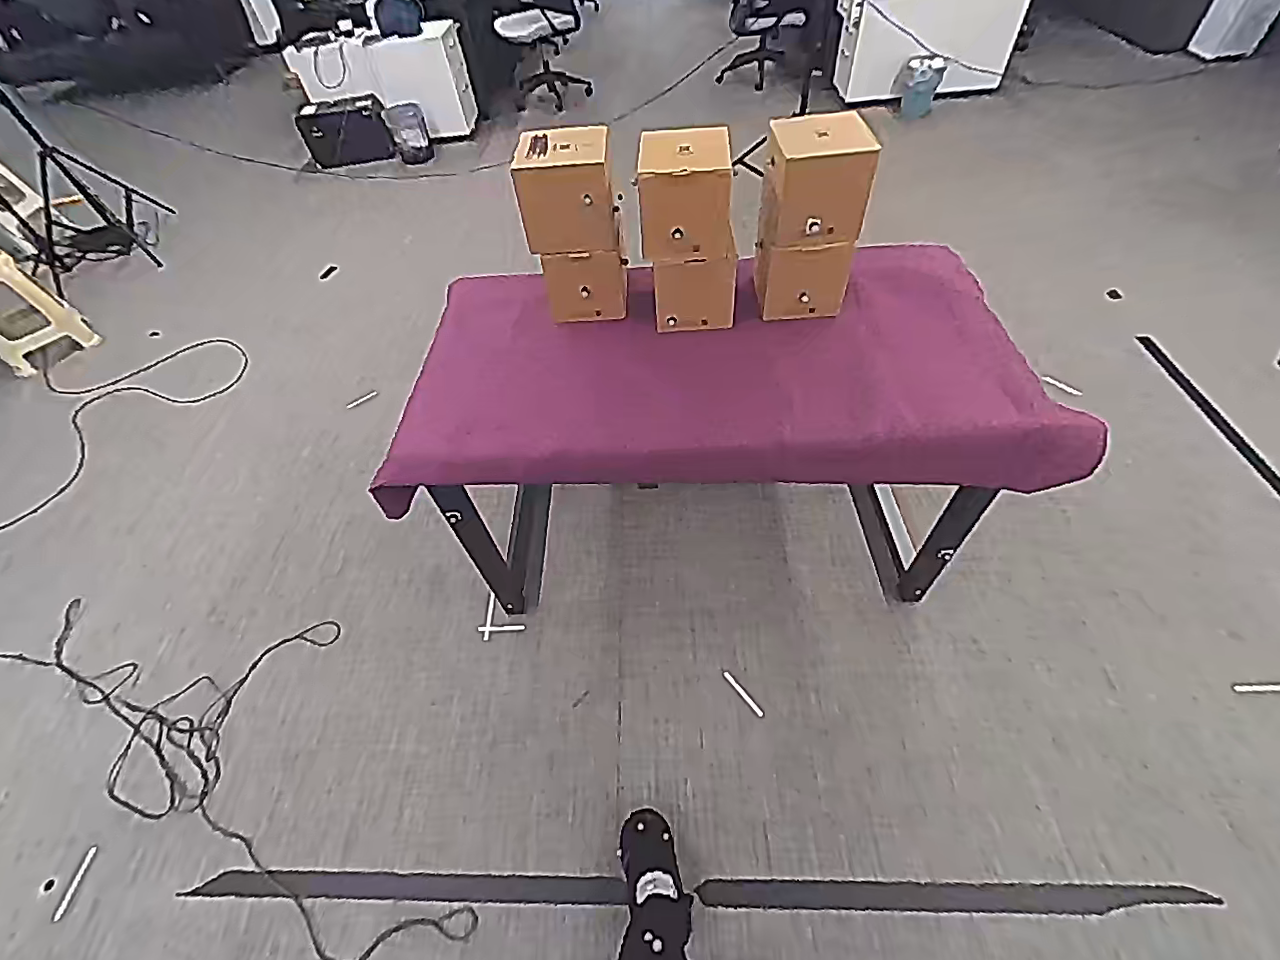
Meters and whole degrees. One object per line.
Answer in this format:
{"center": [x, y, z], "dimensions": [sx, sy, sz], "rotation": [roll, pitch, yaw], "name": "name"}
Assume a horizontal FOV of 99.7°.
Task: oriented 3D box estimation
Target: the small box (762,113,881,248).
{"center": [0.337, -0.574, 1.042], "dimensions": [0.168, 0.176, 0.179], "rotation": [-5, 53, 3], "name": "small box"}

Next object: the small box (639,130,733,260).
{"center": [0.087, -0.548, 1.045], "dimensions": [0.168, 0.176, 0.179], "rotation": [0, 54, 5], "name": "small box"}

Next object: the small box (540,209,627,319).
{"center": [-0.119, -0.479, 1.217], "dimensions": [0.168, 0.176, 0.179], "rotation": [-2, 54, 3], "name": "small box"}

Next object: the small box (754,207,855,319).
{"center": [0.343, -0.471, 1.167], "dimensions": [0.168, 0.176, 0.179], "rotation": [-3, 53, 4], "name": "small box"}

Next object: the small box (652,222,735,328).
{"center": [0.113, -0.445, 1.170], "dimensions": [0.168, 0.176, 0.179], "rotation": [-2, 52, 3], "name": "small box"}
